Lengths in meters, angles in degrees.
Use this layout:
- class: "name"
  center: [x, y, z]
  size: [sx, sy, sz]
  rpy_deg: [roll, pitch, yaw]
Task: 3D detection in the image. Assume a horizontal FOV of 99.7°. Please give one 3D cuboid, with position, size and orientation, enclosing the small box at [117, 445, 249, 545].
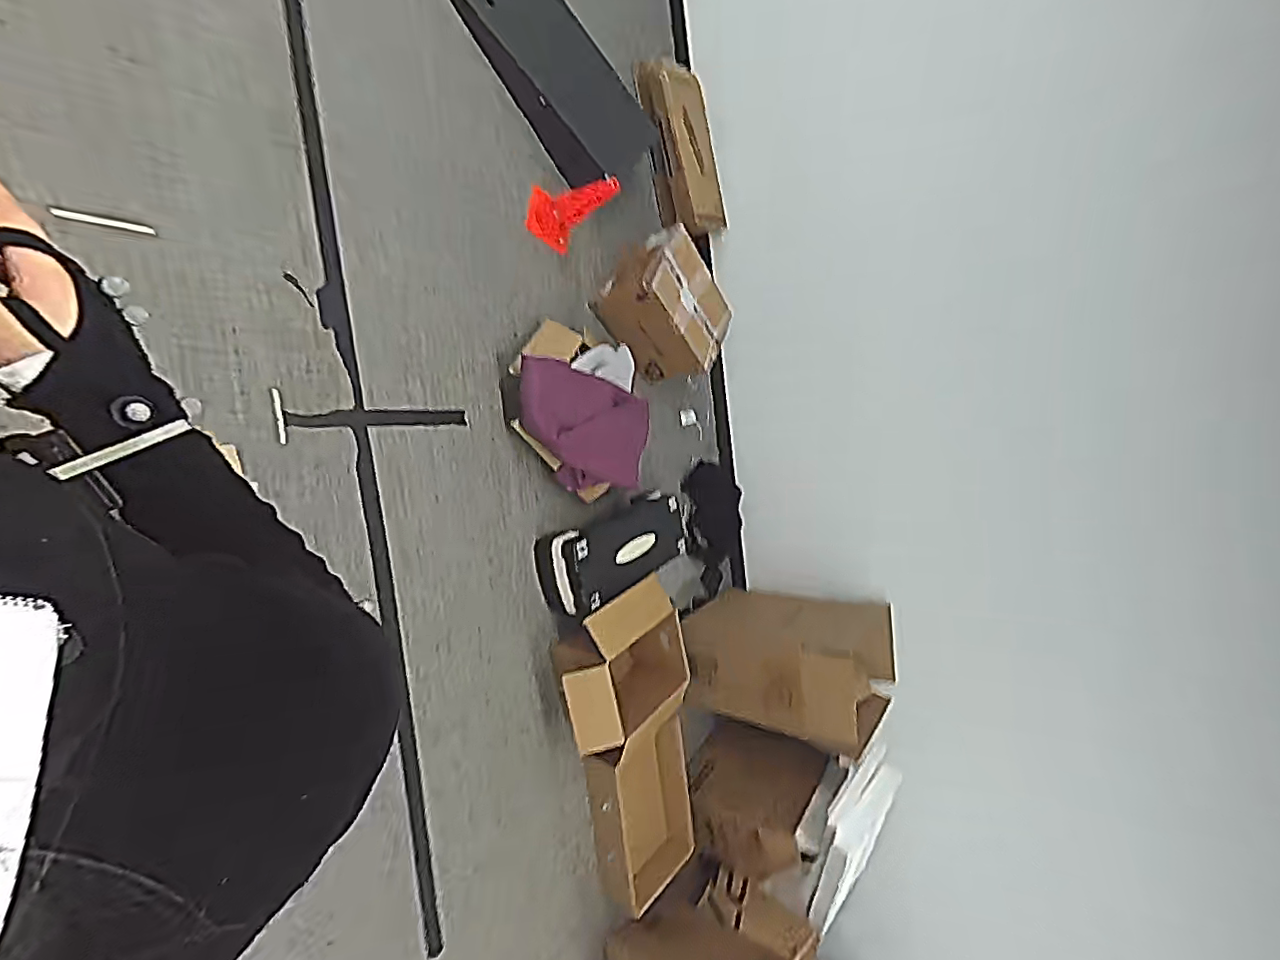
- class: "small box"
  center: [-0.969, 0.029, 1.148]
  size: [0.168, 0.176, 0.179]
  rpy_deg: [-19, 102, -50]
